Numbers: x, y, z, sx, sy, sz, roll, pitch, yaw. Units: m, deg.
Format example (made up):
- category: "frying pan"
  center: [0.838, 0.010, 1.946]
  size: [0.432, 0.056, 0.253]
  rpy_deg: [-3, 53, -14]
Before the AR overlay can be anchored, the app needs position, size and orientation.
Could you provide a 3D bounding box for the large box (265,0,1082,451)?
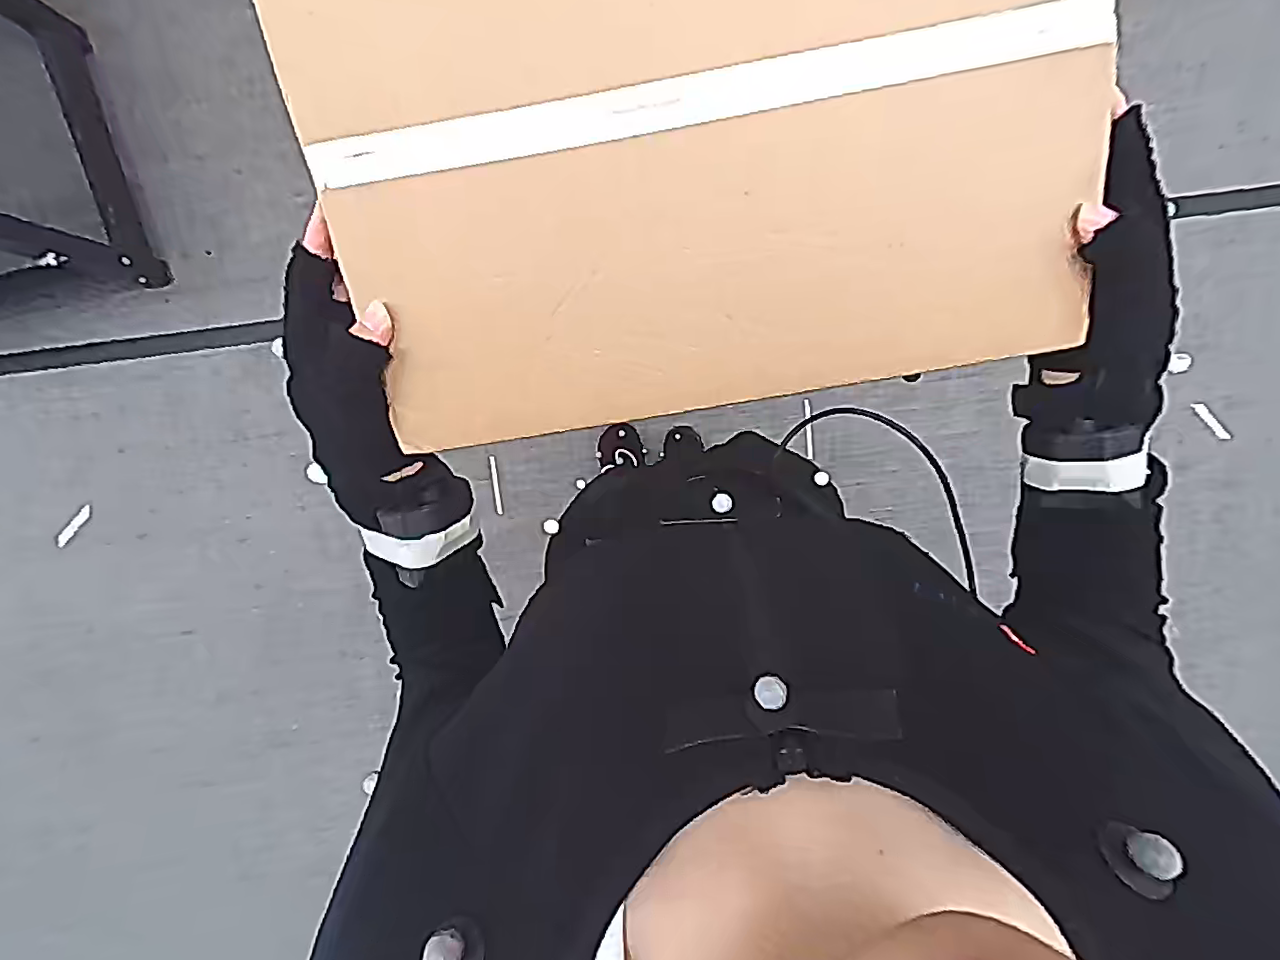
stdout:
- category: "large box"
  center: [0.024, -0.243, 0.421]
  size: [0.408, 0.320, 0.320]
  rpy_deg: [-9, 109, 2]
